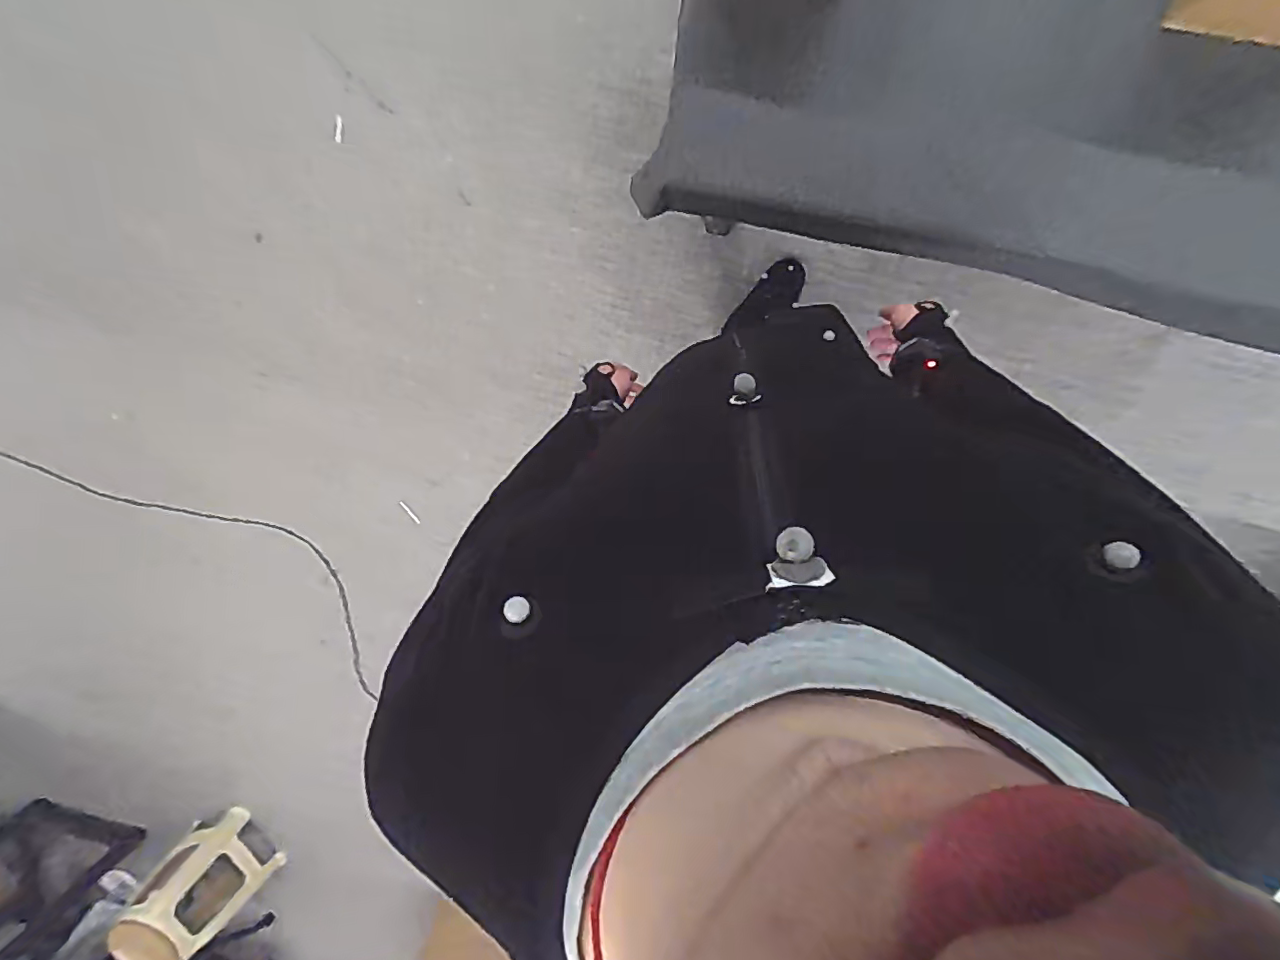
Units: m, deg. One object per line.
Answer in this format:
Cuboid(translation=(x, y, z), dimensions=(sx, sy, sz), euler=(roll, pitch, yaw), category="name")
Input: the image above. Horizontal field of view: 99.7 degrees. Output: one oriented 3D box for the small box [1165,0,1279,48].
Cuboid(translation=(0.653, -0.522, 0.481), dimensions=(0.179, 0.176, 0.168), euler=(14, 110, 4), category="small box")
